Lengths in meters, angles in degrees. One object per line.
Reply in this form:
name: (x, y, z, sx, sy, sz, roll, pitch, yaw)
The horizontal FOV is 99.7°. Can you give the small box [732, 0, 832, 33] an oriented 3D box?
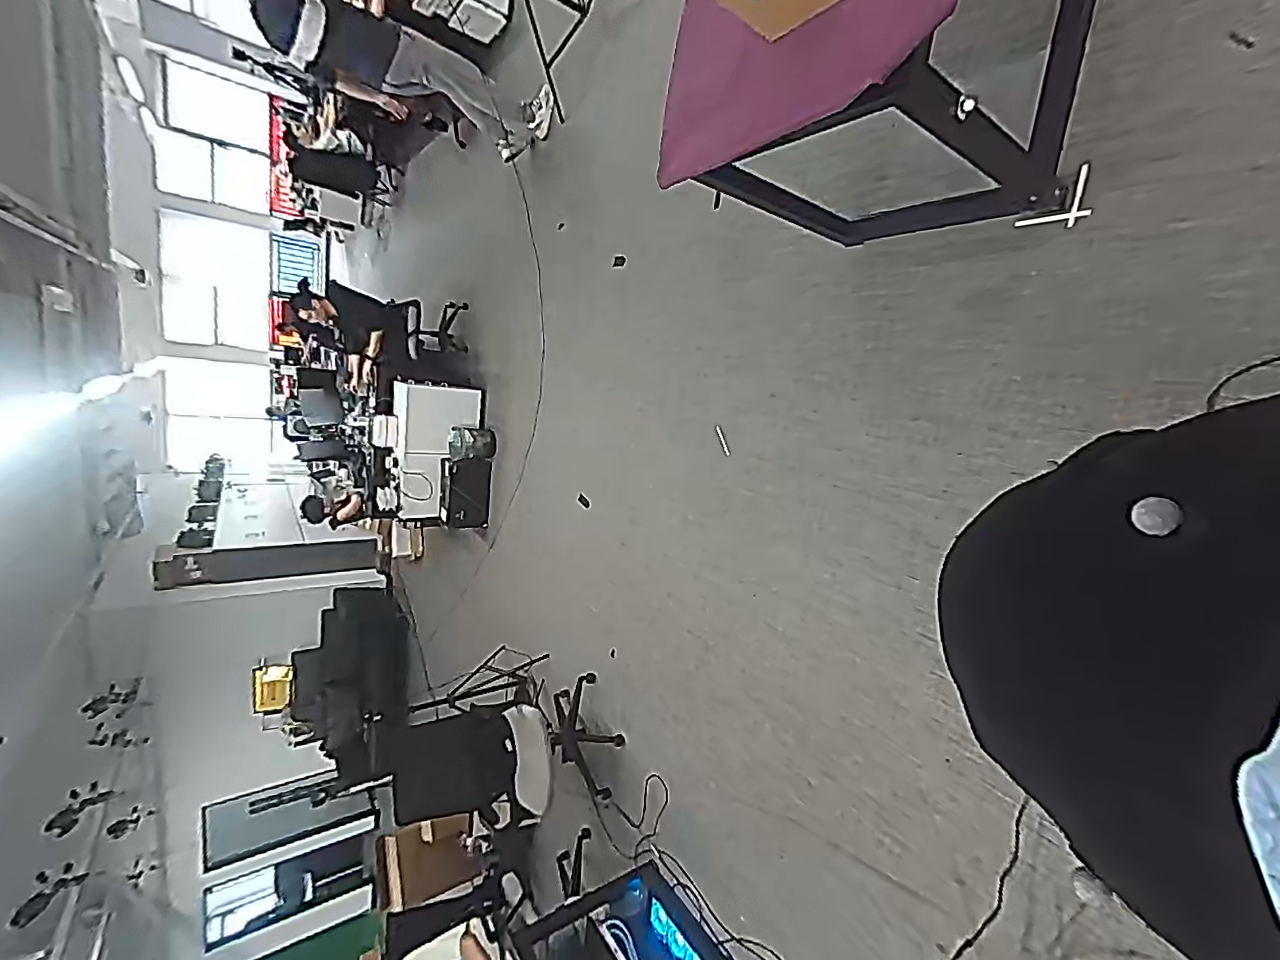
small box: (0.244, -0.904, 0.901, 0.179, 0.176, 0.168, 17, 103, 52)
